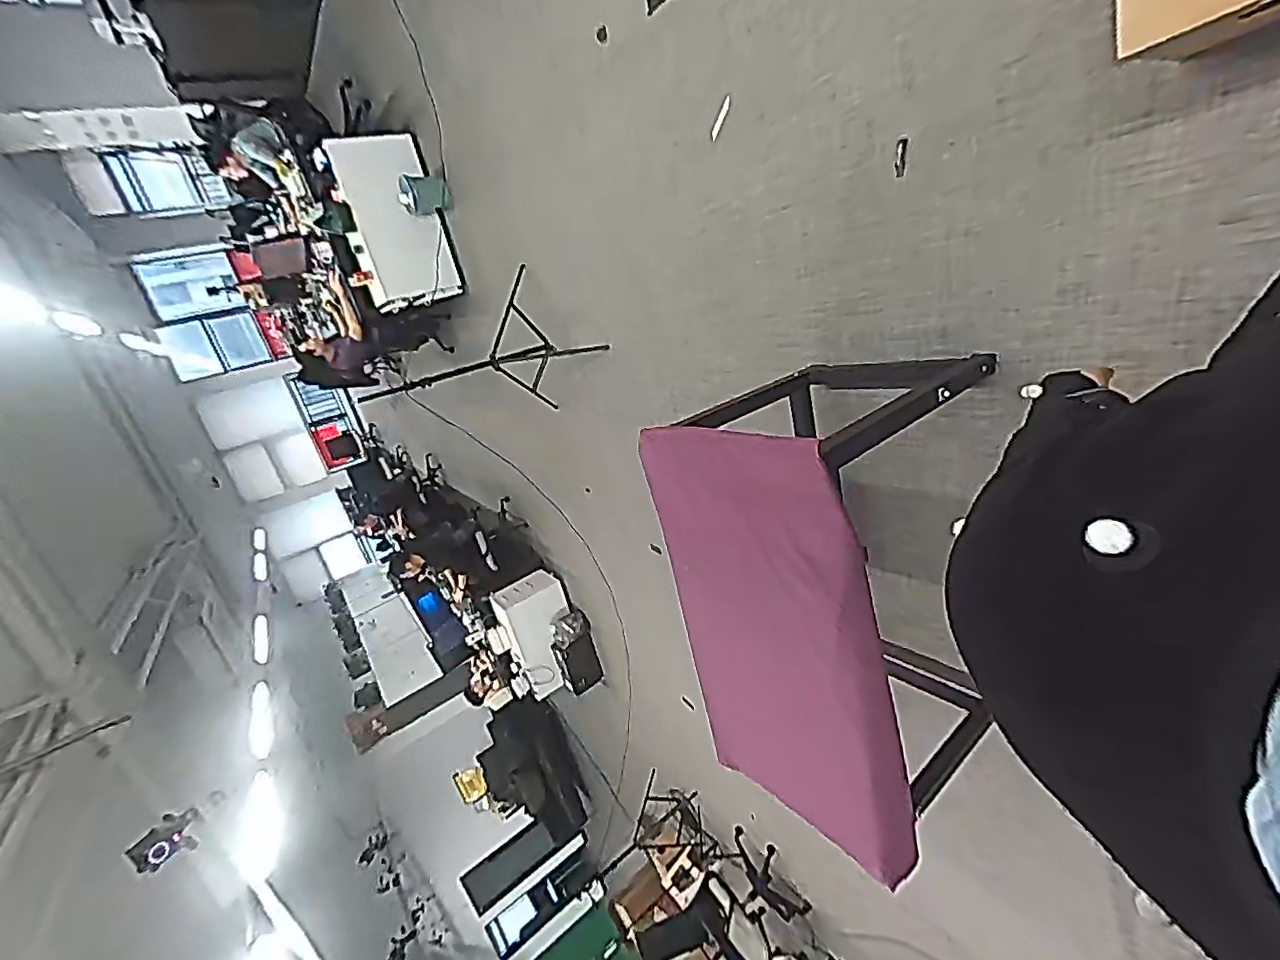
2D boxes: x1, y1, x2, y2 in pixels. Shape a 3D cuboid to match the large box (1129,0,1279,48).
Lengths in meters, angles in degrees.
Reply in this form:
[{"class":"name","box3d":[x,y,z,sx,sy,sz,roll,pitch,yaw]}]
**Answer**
[{"class":"large box","box3d":[0.869,-0.865,0.691,0.320,0.320,0.408,10,122,57]}]
